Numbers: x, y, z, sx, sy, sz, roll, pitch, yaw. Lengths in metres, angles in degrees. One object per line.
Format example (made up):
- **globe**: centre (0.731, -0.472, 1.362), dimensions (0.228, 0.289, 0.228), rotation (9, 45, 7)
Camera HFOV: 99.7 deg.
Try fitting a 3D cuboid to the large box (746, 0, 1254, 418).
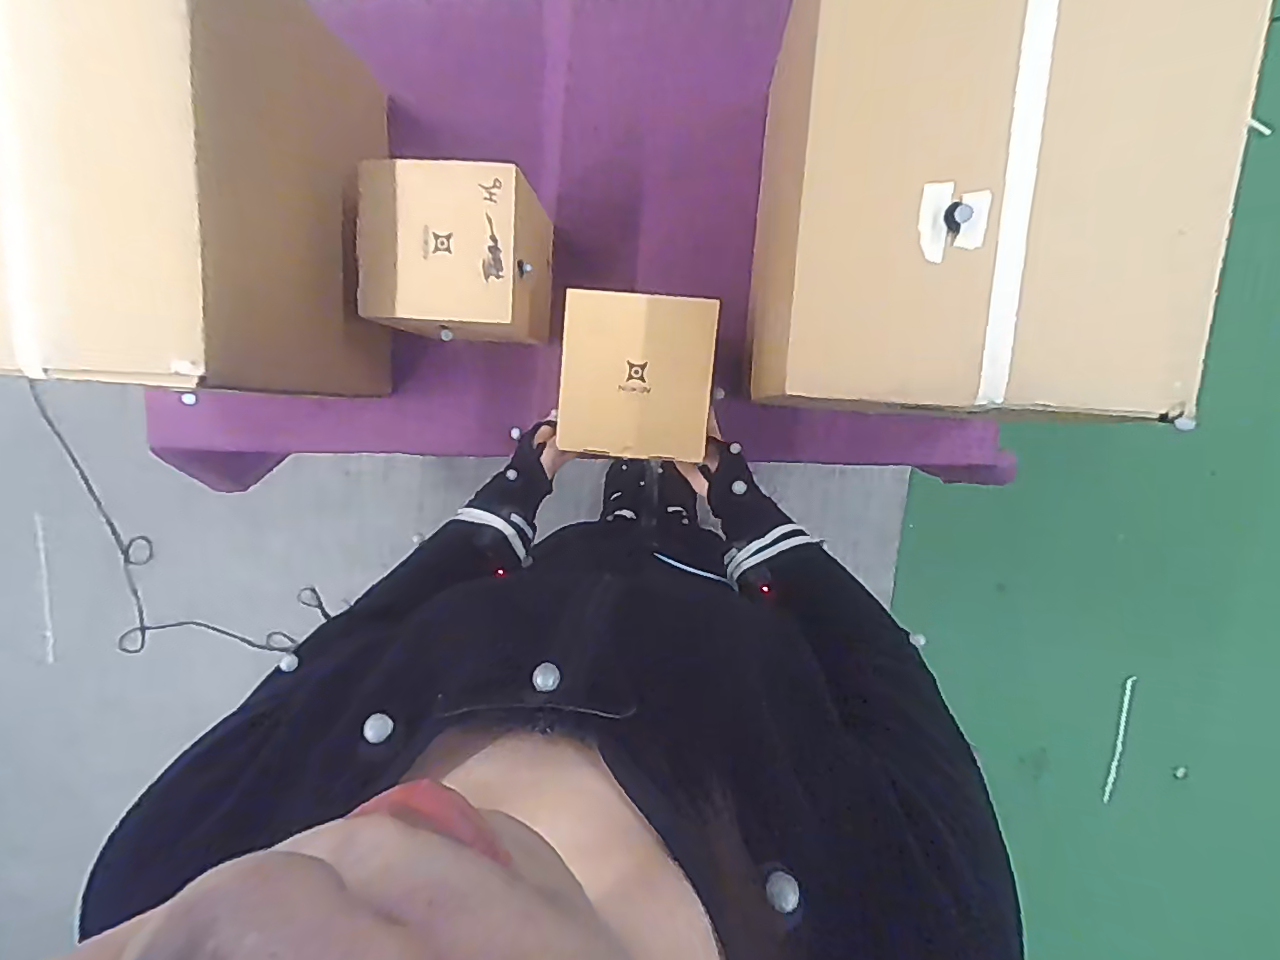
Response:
- **large box**: centre (0.300, -0.278, 0.564), dimensions (0.320, 0.320, 0.408), rotation (5, 98, 3)
